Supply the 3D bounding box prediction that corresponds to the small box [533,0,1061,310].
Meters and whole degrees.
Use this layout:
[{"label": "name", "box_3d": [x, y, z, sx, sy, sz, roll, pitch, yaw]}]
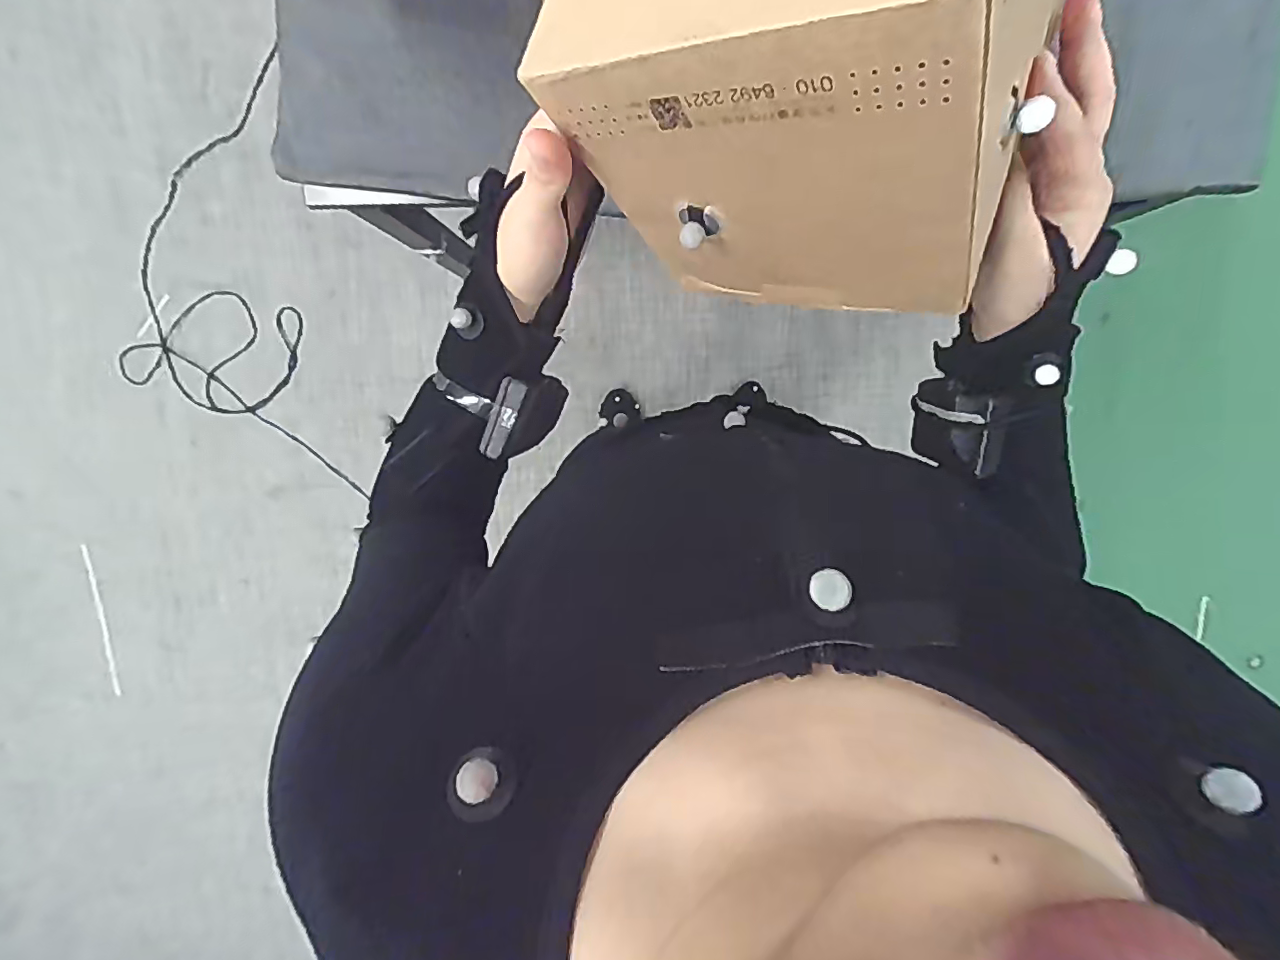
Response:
[{"label": "small box", "box_3d": [0.081, -0.202, 0.243, 0.168, 0.176, 0.179, 19, 88, 31]}]
